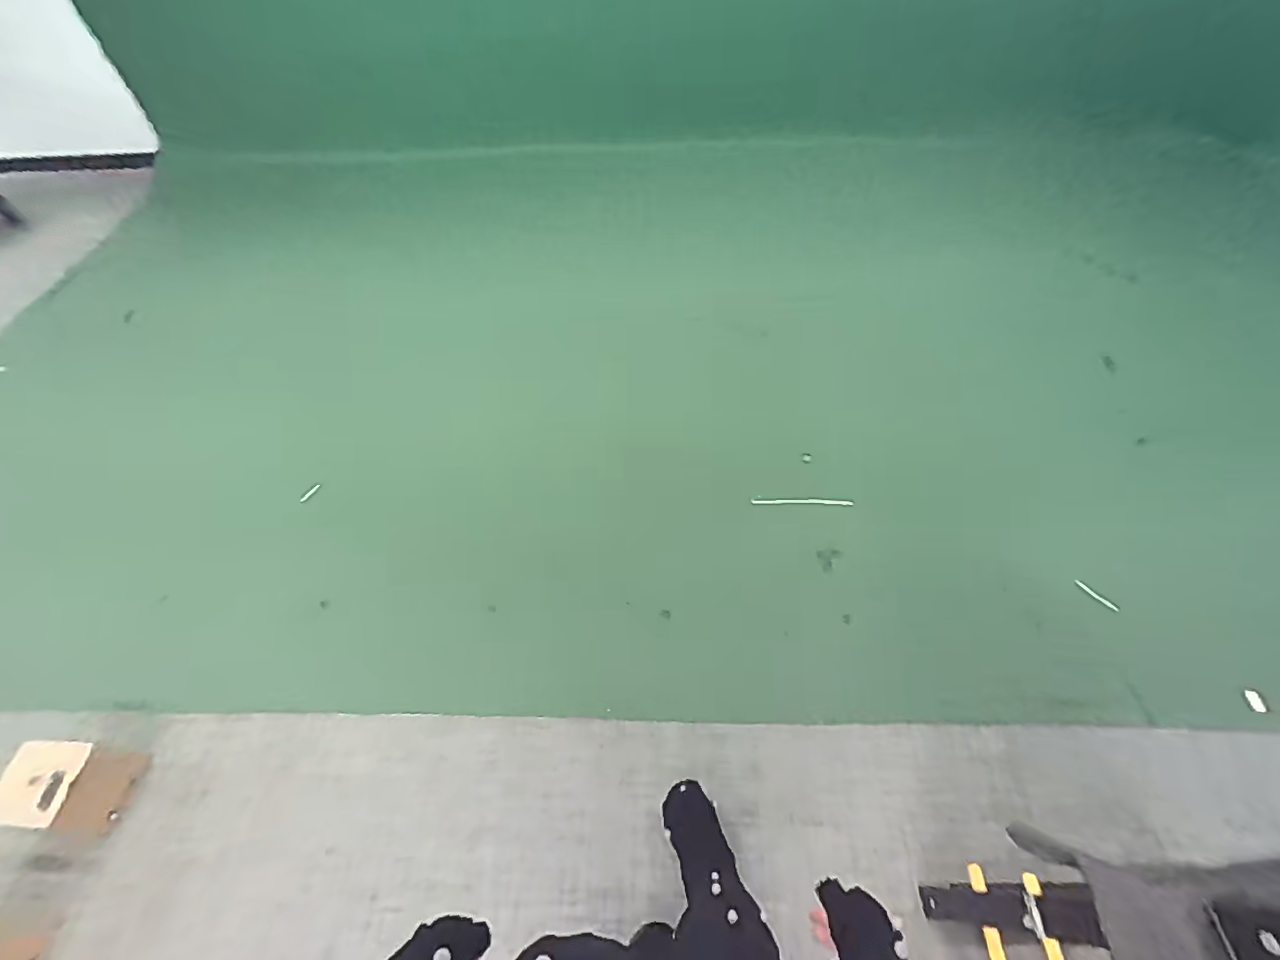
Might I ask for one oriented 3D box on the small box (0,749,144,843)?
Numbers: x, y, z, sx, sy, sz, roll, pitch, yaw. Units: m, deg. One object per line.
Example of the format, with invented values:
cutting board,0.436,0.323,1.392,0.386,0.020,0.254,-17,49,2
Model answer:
small box,-1.311,0.723,1.233,0.179,0.176,0.168,1,53,4
